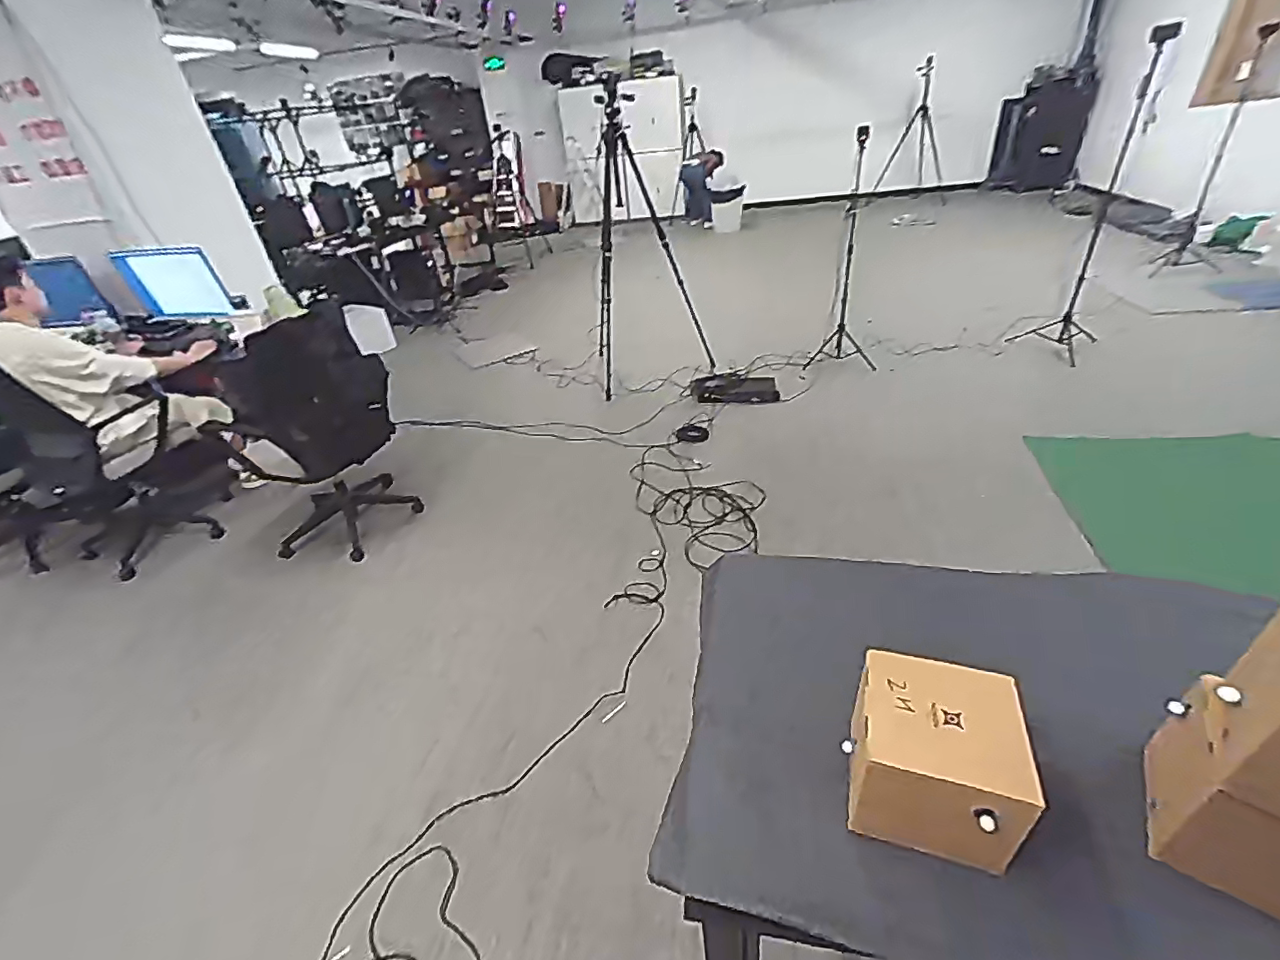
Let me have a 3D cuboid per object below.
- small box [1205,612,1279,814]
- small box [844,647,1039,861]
[{"bbox_3d":[0.692,0.235,0.505,0.179,0.176,0.168,23,44,37],"label":"small box"},{"bbox_3d":[0.368,0.348,0.693,0.179,0.176,0.168,6,35,19],"label":"small box"}]
